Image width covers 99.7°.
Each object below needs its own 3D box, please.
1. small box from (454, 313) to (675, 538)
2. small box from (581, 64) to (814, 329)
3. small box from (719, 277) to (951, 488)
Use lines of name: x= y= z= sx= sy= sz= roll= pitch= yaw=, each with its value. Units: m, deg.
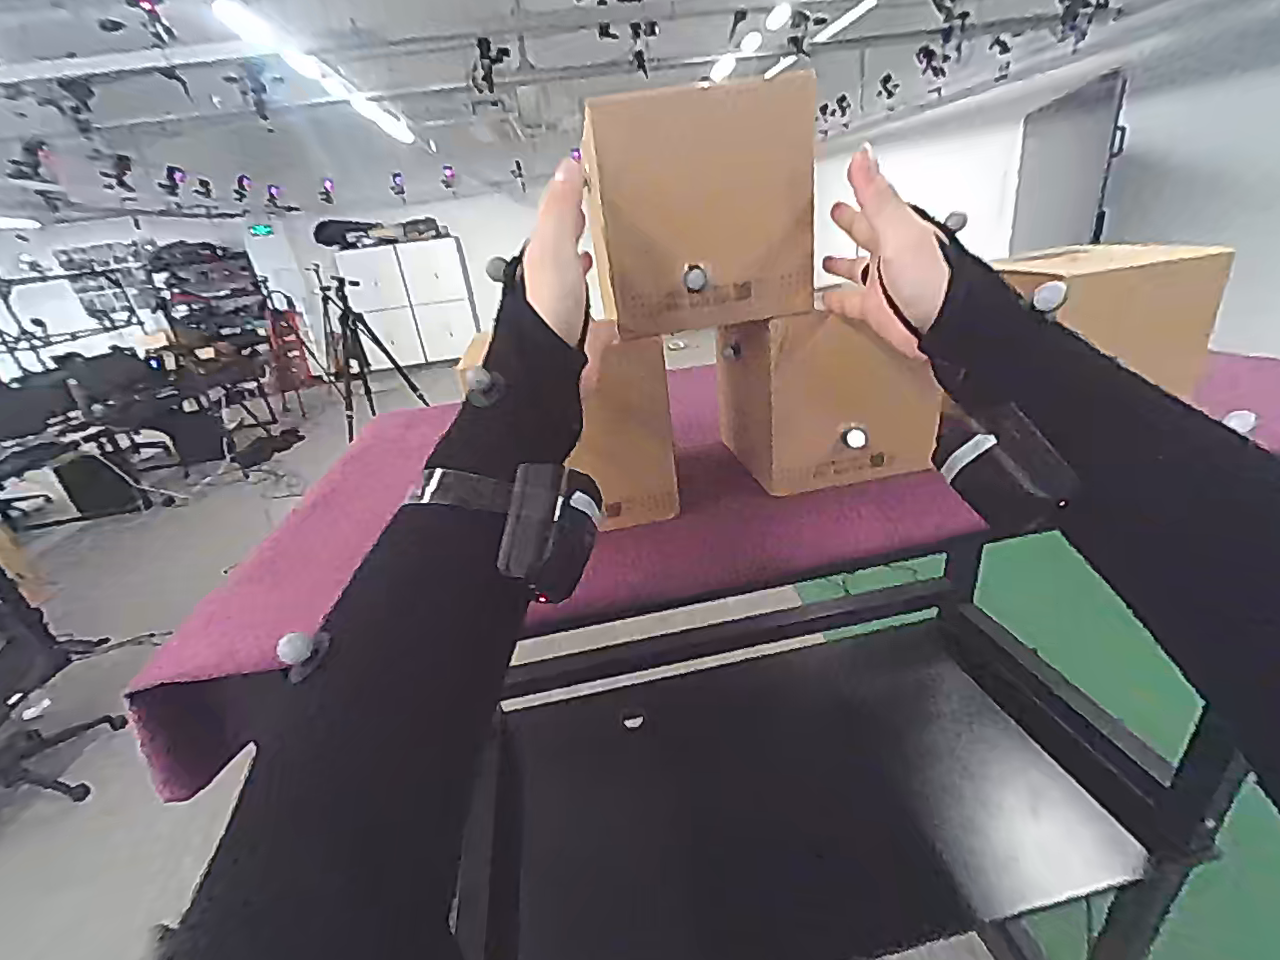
small box: x=-0.067 y=-0.063 z=0.531 sx=0.168 sy=0.176 sz=0.179 roll=-10 pitch=24 yaw=-6
small box: x=0.041 y=-0.235 z=0.481 sx=0.168 sy=0.176 sz=0.179 roll=-10 pitch=24 yaw=-3
small box: x=0.181 y=-0.107 z=0.557 sx=0.168 sy=0.176 sz=0.179 roll=-10 pitch=25 yaw=-5
